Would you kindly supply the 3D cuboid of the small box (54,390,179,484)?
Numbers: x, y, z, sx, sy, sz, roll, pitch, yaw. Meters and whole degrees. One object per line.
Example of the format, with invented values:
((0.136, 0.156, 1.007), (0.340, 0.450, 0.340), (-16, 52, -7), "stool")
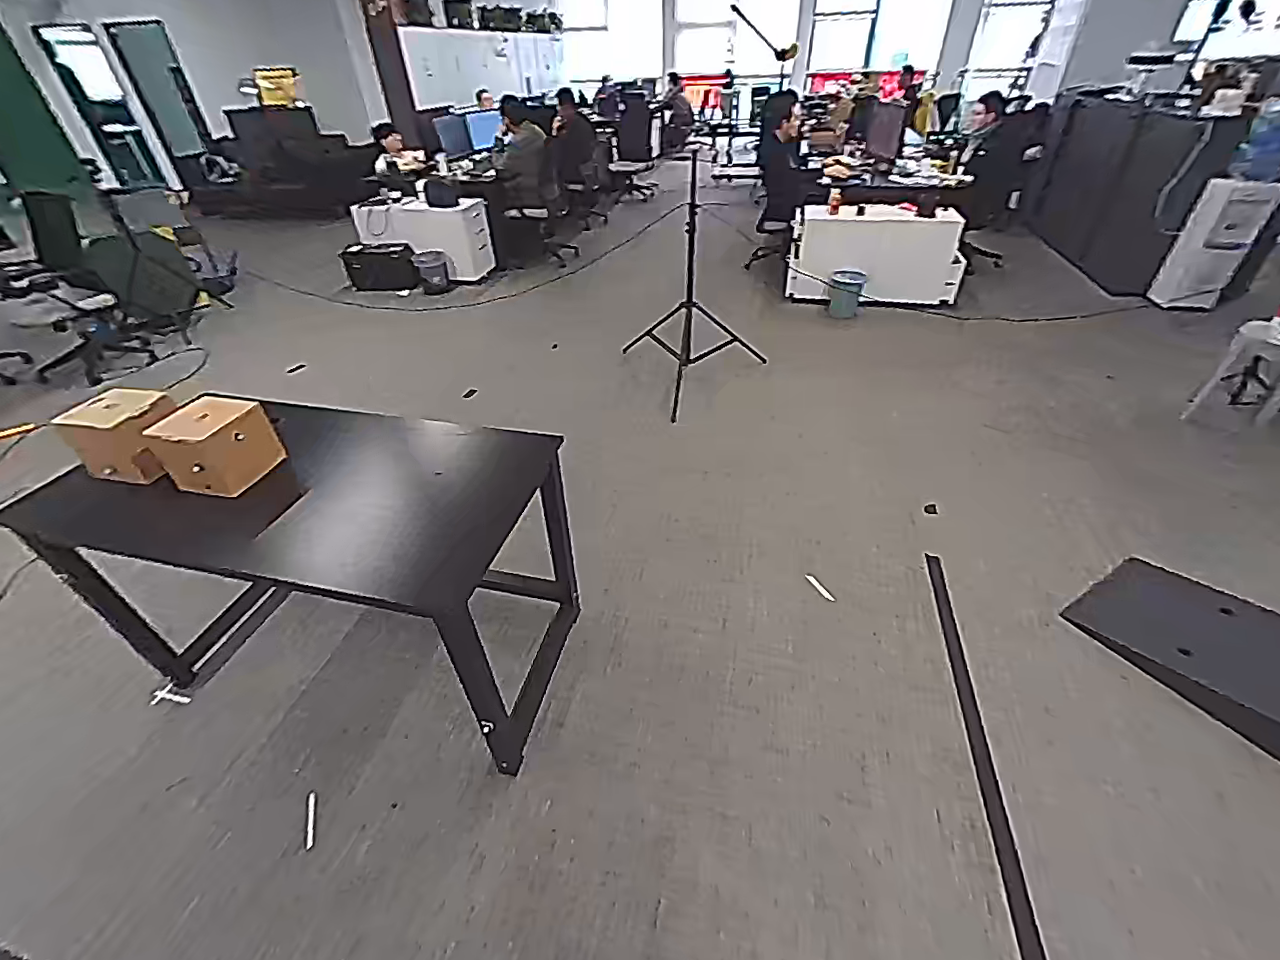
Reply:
((-1.277, -0.107, 1.364), (0.179, 0.176, 0.168), (7, 38, 10), "small box")

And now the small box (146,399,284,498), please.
((-1.020, -0.077, 1.319), (0.168, 0.176, 0.179), (8, 38, 11), "small box")
